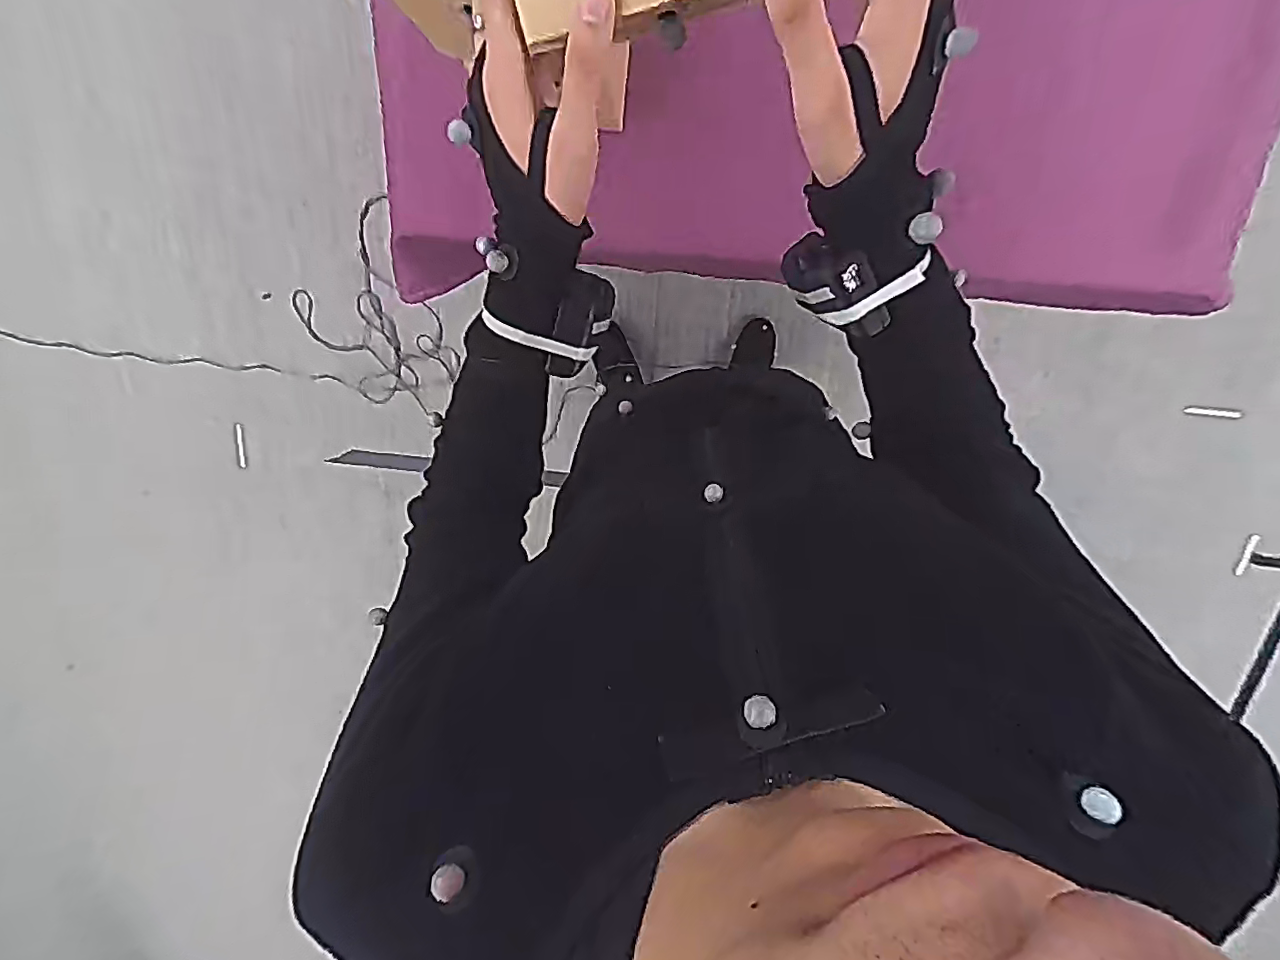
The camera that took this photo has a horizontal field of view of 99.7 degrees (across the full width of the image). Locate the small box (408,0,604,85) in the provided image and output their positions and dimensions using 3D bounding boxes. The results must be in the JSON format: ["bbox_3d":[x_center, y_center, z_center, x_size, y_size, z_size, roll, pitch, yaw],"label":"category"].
[{"bbox_3d":[-0.122,-0.503,0.499,0.179,0.176,0.168,12,107,-2],"label":"small box"}]

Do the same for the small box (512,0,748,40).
[{"bbox_3d":[0.019,-0.339,0.257,0.168,0.176,0.179,-2,126,17],"label":"small box"}]
